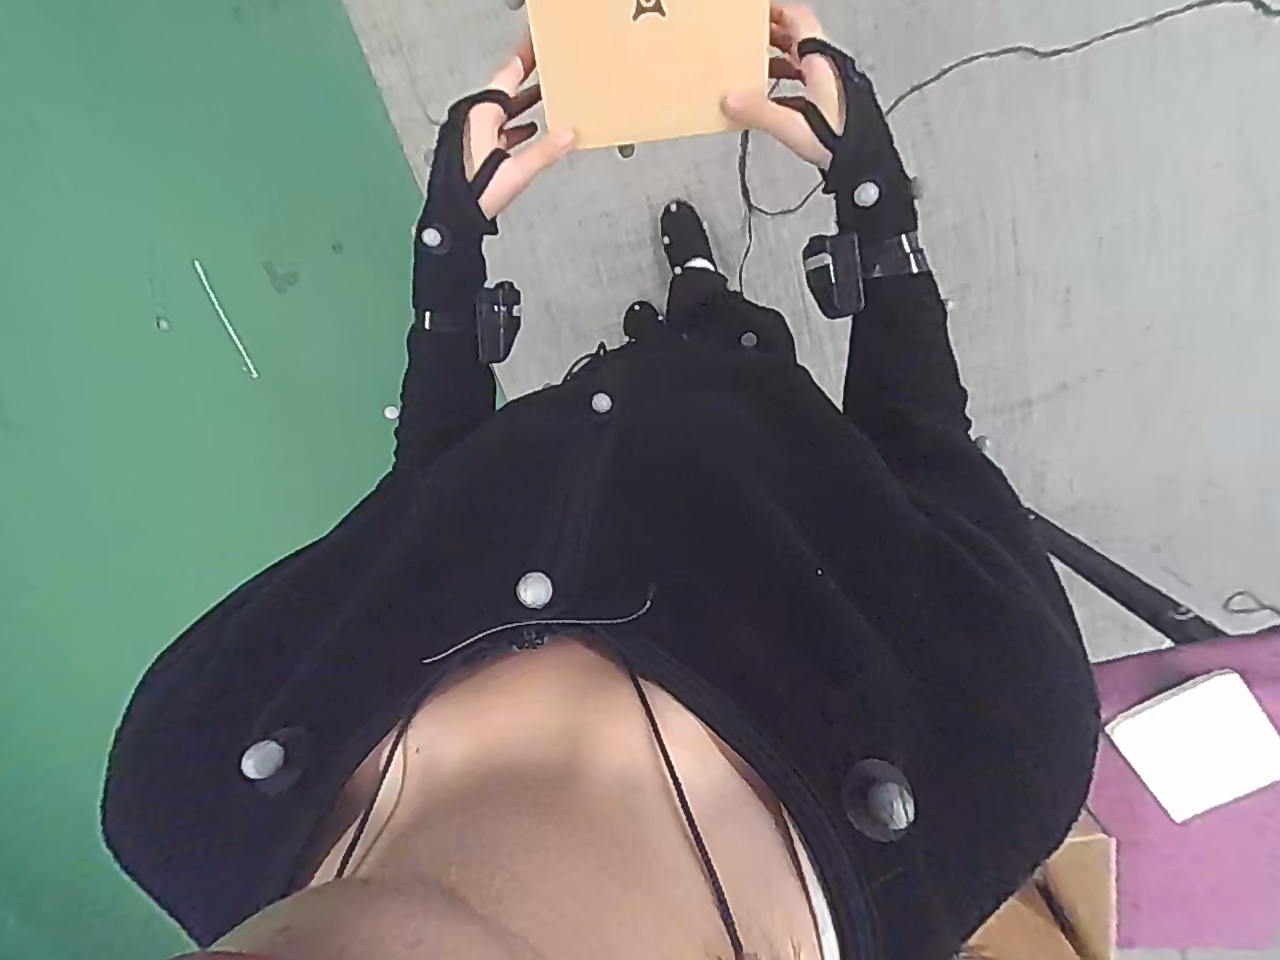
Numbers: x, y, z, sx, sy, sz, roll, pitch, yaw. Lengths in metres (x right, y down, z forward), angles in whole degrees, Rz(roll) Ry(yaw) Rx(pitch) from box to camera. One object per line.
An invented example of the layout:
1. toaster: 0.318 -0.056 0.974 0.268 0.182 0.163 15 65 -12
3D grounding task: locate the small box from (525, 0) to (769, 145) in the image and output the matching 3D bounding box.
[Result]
1. small box: 0.000 -0.375 0.416 0.168 0.176 0.179 -7 125 0
